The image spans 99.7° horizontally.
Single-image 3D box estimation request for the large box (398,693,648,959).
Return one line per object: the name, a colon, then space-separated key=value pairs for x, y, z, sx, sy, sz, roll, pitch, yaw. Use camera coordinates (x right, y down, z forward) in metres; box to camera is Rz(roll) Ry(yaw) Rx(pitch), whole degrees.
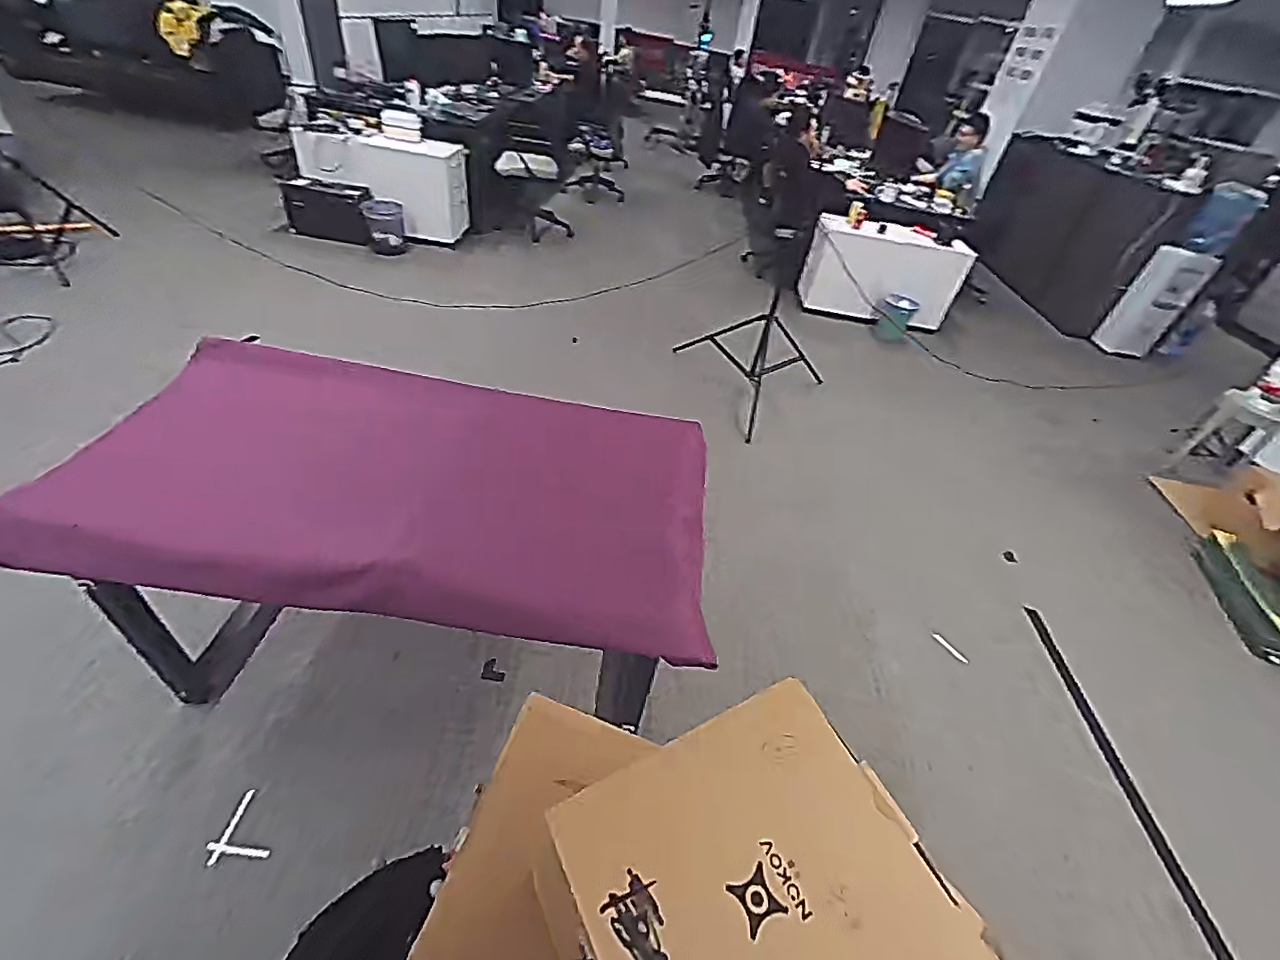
large box: x=-0.024 y=0.512 z=0.621 sx=0.408 sy=0.320 sz=0.320 roll=20 pitch=47 yaw=4
